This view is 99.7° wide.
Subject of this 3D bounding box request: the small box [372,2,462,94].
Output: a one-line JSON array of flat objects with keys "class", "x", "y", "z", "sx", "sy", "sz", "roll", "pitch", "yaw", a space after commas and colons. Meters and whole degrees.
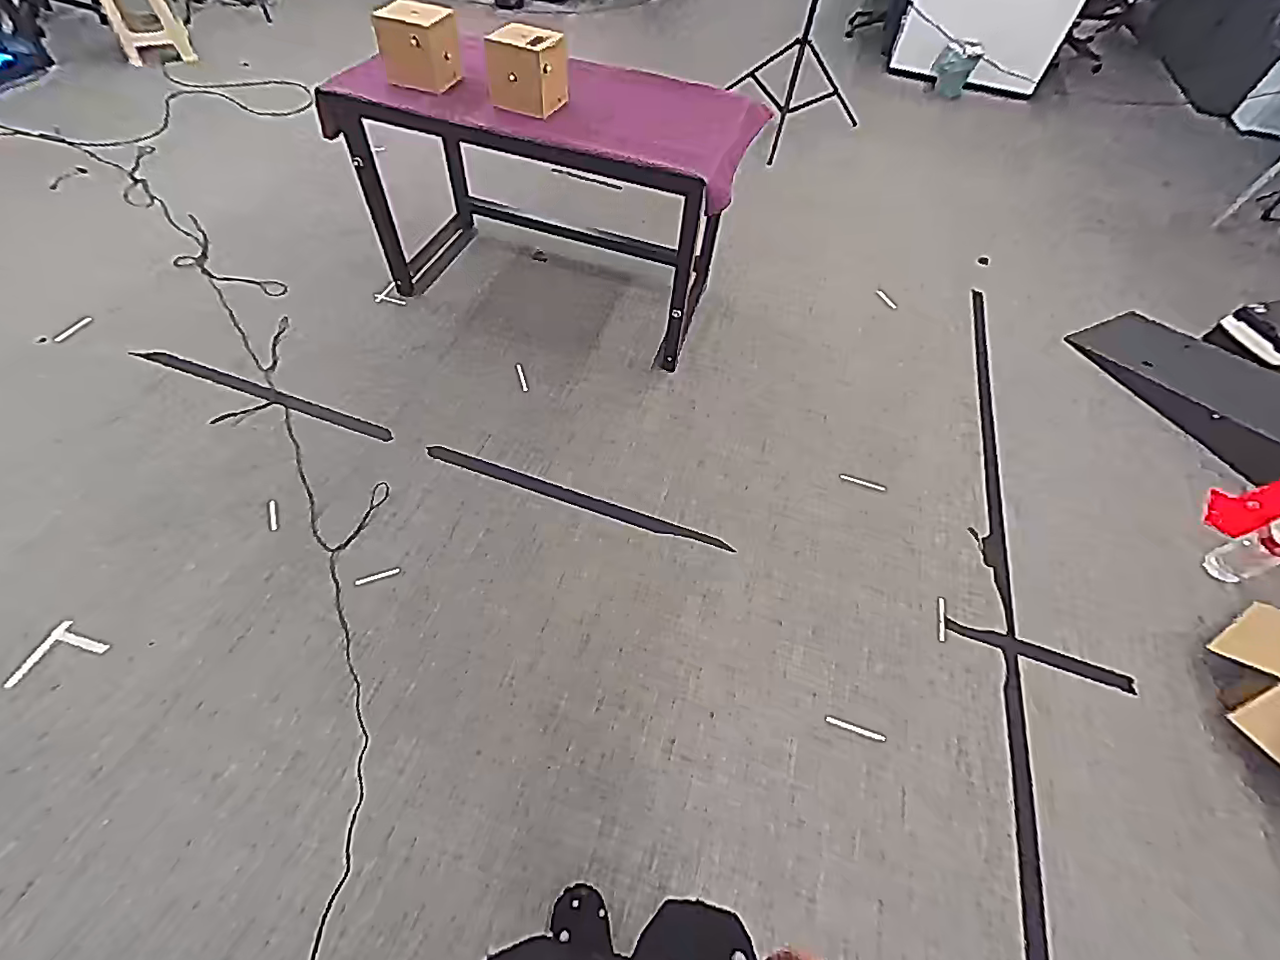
[{"class": "small box", "x": -0.656, "y": -1.288, "z": 1.619, "sx": 0.179, "sy": 0.176, "sz": 0.168, "roll": 15, "pitch": 54, "yaw": 5}]
